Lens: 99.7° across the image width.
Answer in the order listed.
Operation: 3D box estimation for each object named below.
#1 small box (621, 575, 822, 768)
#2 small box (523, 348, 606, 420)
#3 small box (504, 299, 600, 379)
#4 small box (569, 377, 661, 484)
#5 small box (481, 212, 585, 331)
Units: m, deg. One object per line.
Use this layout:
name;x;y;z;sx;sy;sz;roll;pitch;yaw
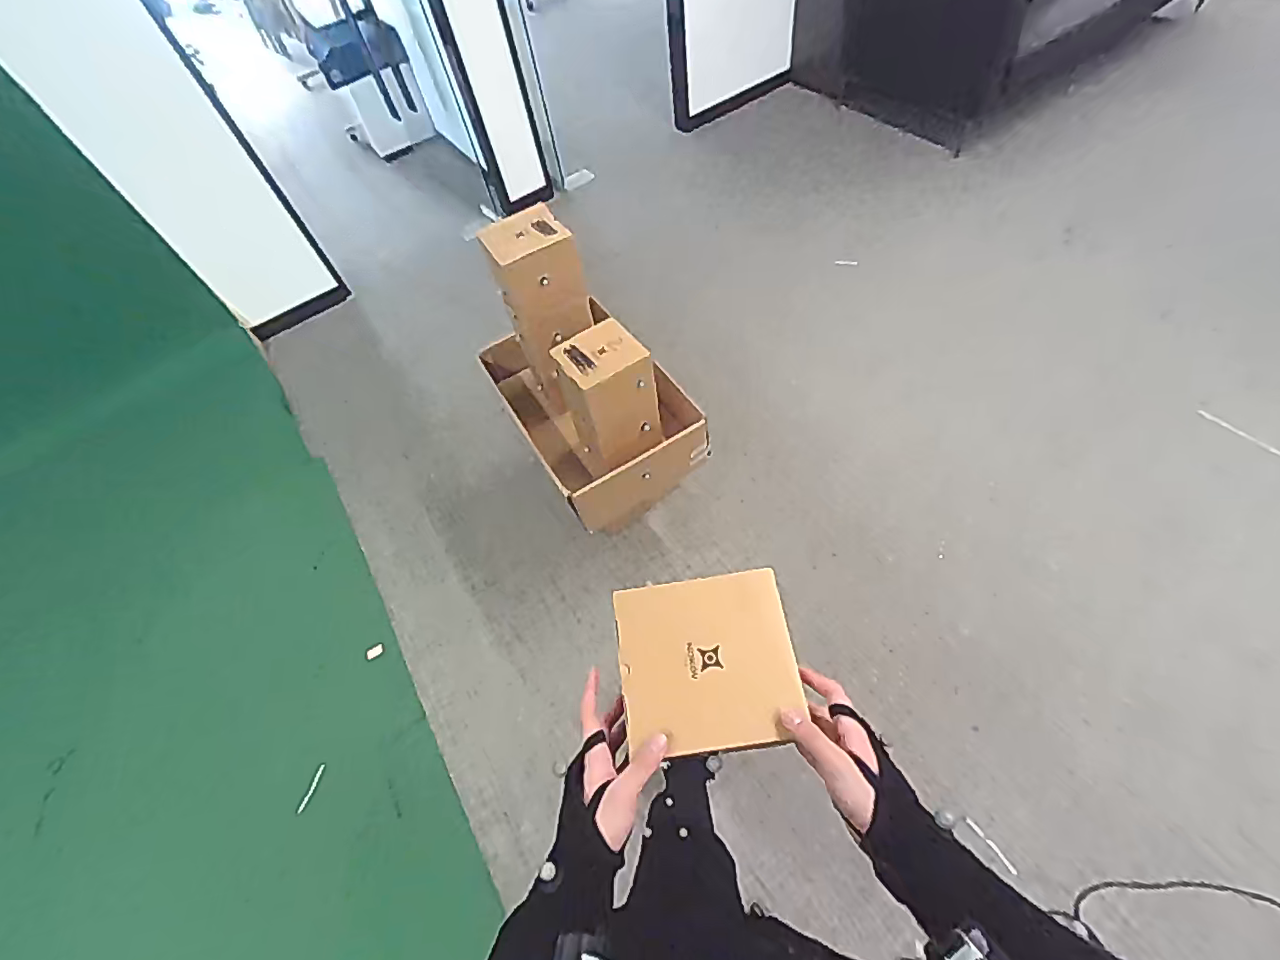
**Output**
small box;0.081;0.219;0.606;0.179;0.176;0.168;-9;61;2
small box;-0.207;-0.301;1.542;0.179;0.176;0.168;-27;57;-12
small box;-0.224;-0.395;1.409;0.179;0.176;0.168;-29;58;-11
small box;-0.057;-0.125;1.396;0.179;0.176;0.168;-31;56;-13
small box;-0.241;-0.487;1.273;0.179;0.176;0.168;-29;58;-11
